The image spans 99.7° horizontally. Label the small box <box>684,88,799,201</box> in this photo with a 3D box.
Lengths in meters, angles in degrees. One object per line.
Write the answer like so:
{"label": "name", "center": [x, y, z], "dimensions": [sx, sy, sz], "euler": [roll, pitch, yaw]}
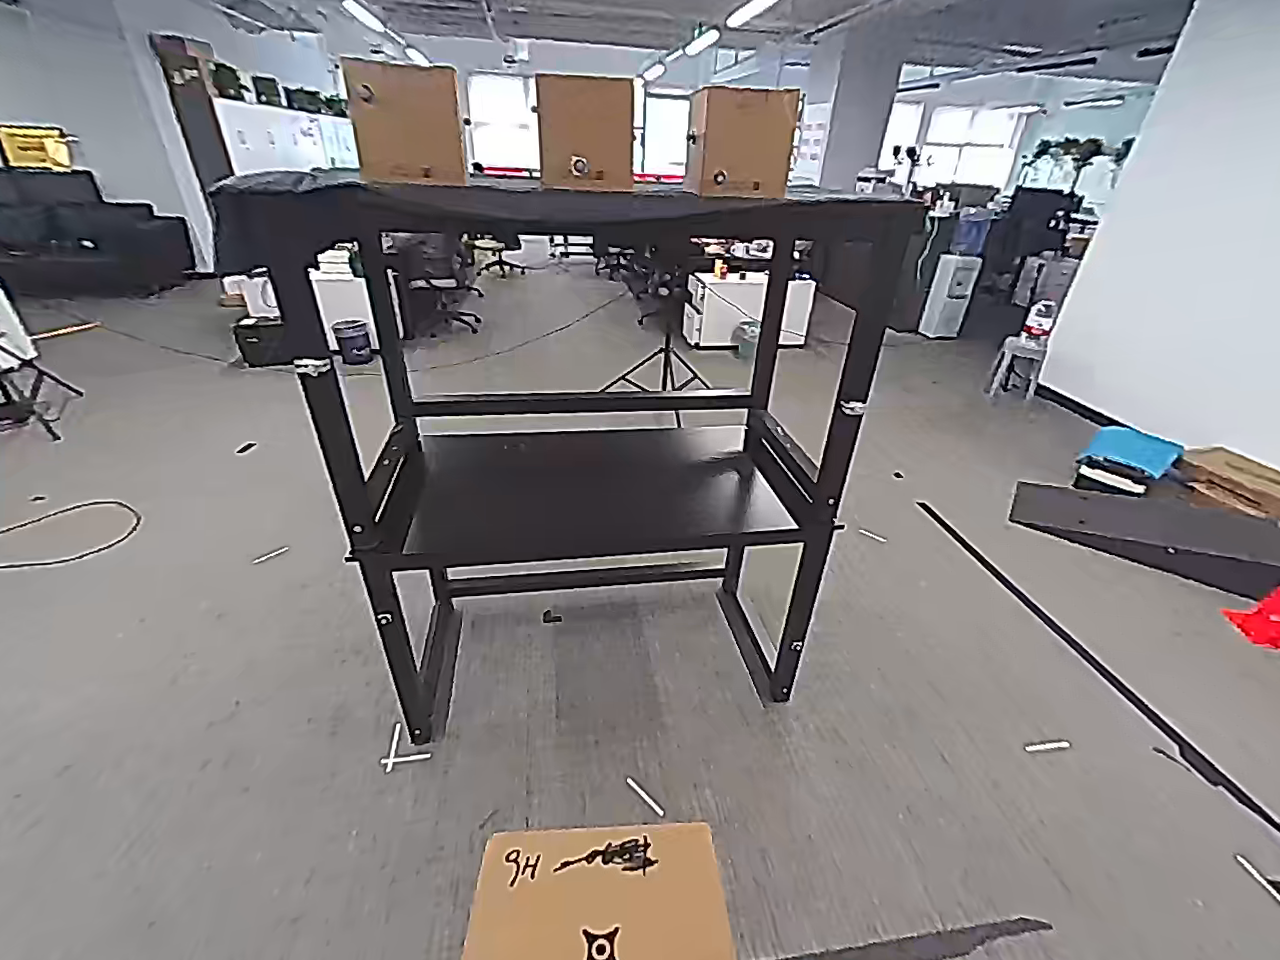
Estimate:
{"label": "small box", "center": [0.182, -0.628, 1.023], "dimensions": [0.168, 0.176, 0.179], "euler": [-2, 30, -7]}

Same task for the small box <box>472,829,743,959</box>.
{"label": "small box", "center": [-0.019, 0.365, 0.346], "dimensions": [0.168, 0.176, 0.179], "euler": [0, 22, -3]}

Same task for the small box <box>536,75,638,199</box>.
{"label": "small box", "center": [-0.096, -0.609, 0.973], "dimensions": [0.168, 0.176, 0.179], "euler": [-2, 30, -6]}
